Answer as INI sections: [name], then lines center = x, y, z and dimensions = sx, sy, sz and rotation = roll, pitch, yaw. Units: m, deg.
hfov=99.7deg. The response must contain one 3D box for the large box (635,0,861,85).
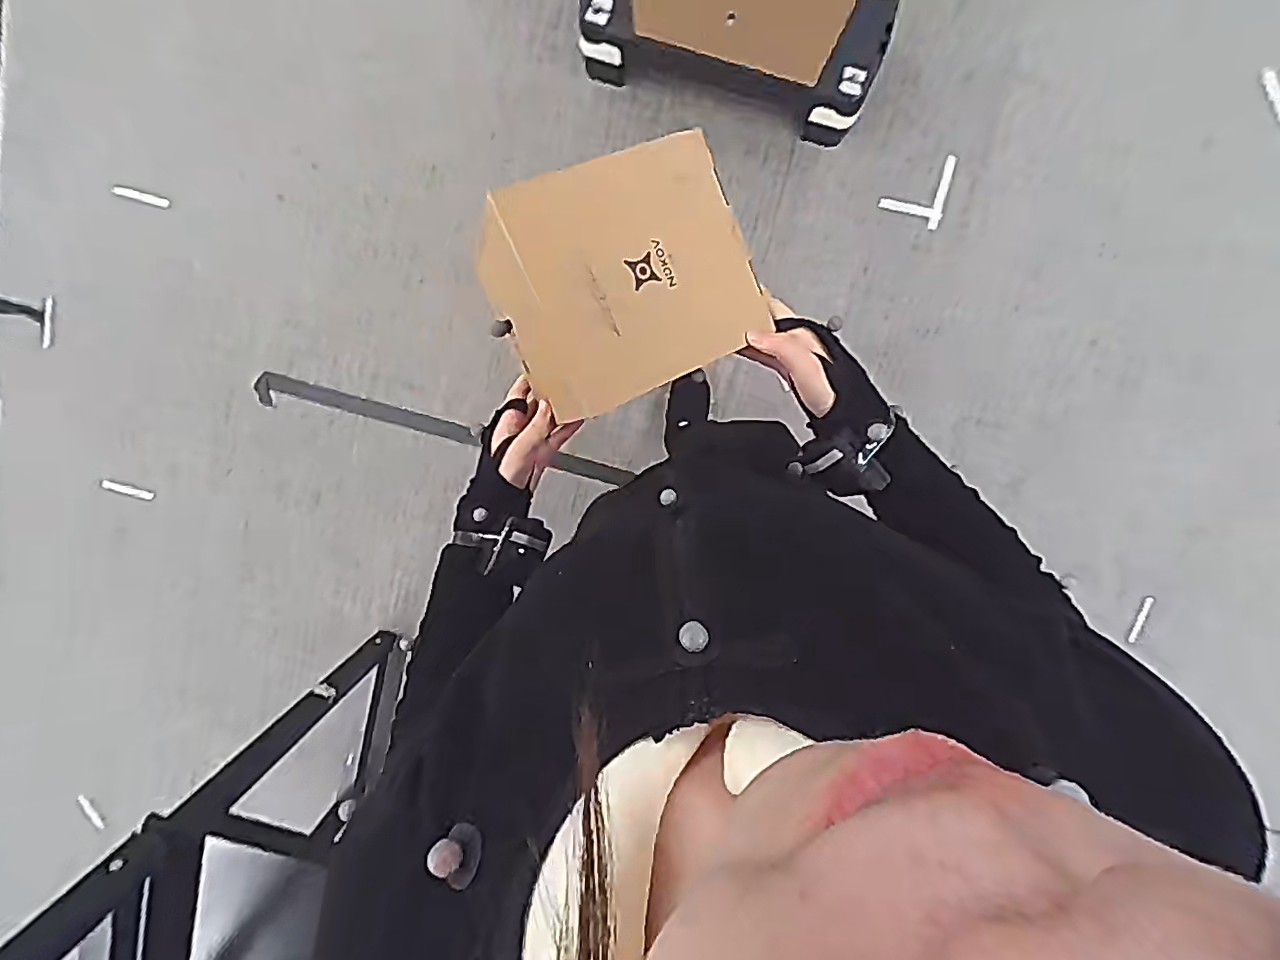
[large box]
center = 0.218, -1.002, 0.980
dimensions = 0.408, 0.320, 0.320
rotation = 16, 99, 1

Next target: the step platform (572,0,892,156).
[step platform]
center = 0.194, -1.021, 1.220
dimensions = 0.684, 0.204, 0.286
rotation = 21, 99, 0
